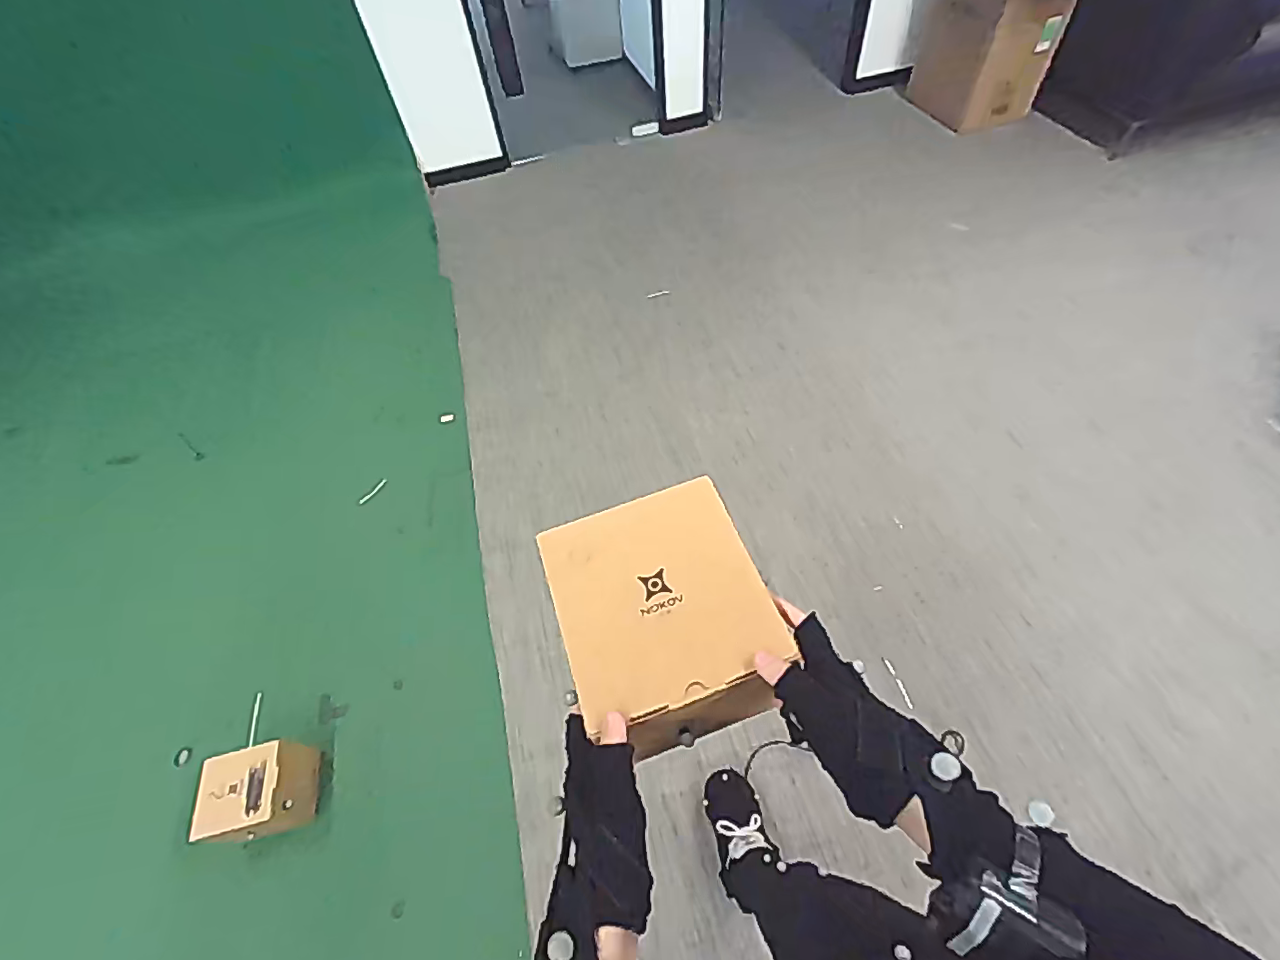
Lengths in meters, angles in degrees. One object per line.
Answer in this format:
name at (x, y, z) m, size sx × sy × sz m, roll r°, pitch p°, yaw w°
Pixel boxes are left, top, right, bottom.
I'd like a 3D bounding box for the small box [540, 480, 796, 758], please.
small box at (0.019, 0.133, 0.503) m, size 0.168 × 0.176 × 0.179 m, roll -18°, pitch 57°, yaw -7°
